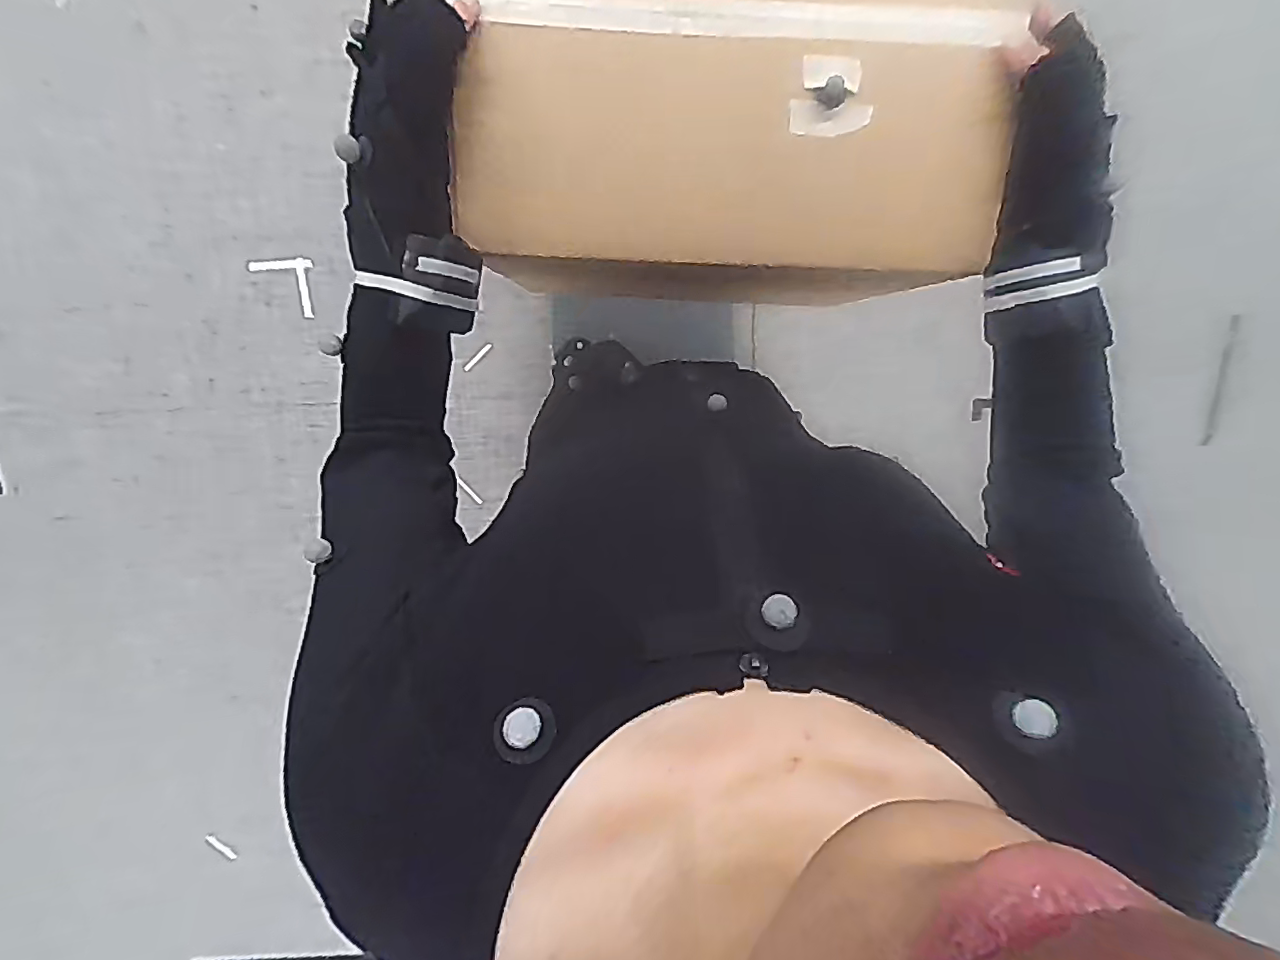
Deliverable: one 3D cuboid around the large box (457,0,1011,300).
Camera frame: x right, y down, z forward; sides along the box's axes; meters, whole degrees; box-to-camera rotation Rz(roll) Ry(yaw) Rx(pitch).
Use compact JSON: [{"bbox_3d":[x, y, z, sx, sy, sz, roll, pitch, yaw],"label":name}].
[{"bbox_3d":[0.061,-0.357,0.533,0.408,0.320,0.320,1,103,-2],"label":"large box"}]
